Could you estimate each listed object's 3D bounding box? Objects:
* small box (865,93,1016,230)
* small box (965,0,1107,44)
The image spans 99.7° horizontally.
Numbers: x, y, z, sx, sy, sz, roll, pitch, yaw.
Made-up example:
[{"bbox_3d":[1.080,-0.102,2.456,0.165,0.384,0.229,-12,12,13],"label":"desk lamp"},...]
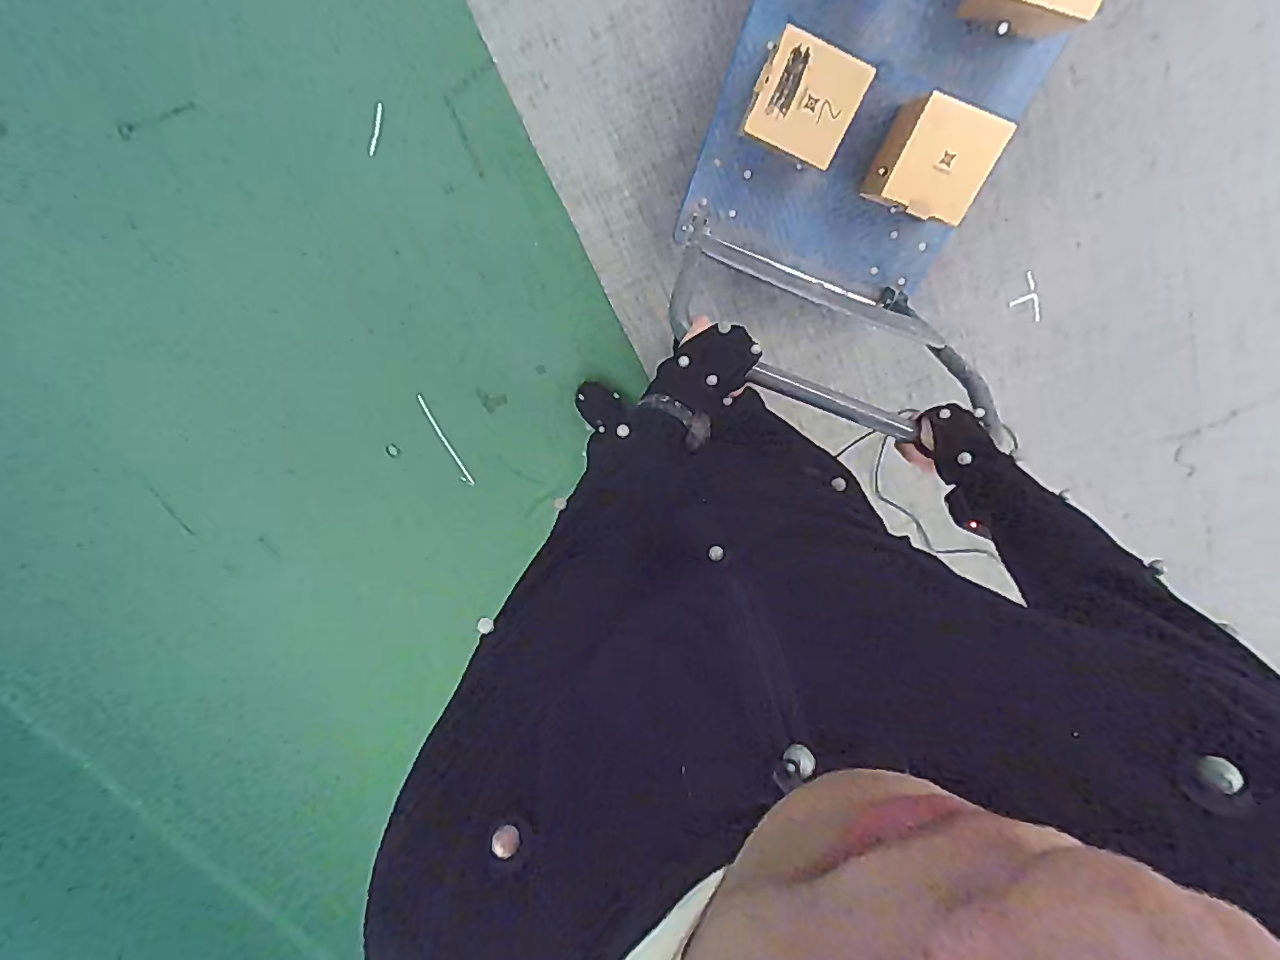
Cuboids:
[{"bbox_3d":[0.566,-0.615,1.052,0.168,0.176,0.179,20,121,-5],"label":"small box"},{"bbox_3d":[0.681,-0.862,0.891,0.168,0.176,0.179,17,122,-2],"label":"small box"}]
